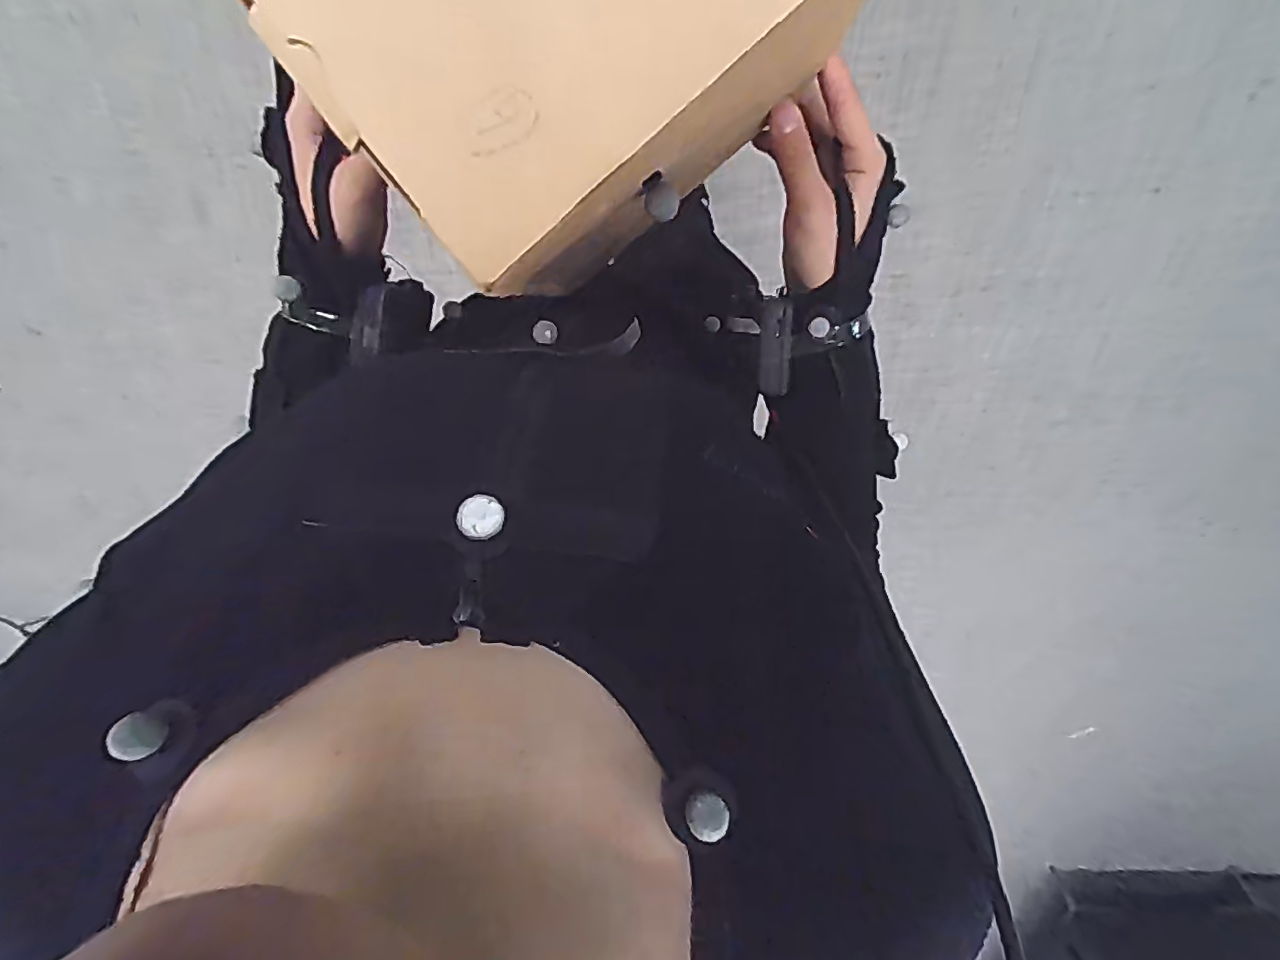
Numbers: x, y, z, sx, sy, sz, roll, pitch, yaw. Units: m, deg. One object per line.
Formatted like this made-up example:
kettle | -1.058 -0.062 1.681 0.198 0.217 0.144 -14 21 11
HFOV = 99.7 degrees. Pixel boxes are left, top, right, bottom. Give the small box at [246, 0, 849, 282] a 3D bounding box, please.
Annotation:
small box | -0.029 -0.200 0.224 0.179 0.176 0.168 -36 103 14
